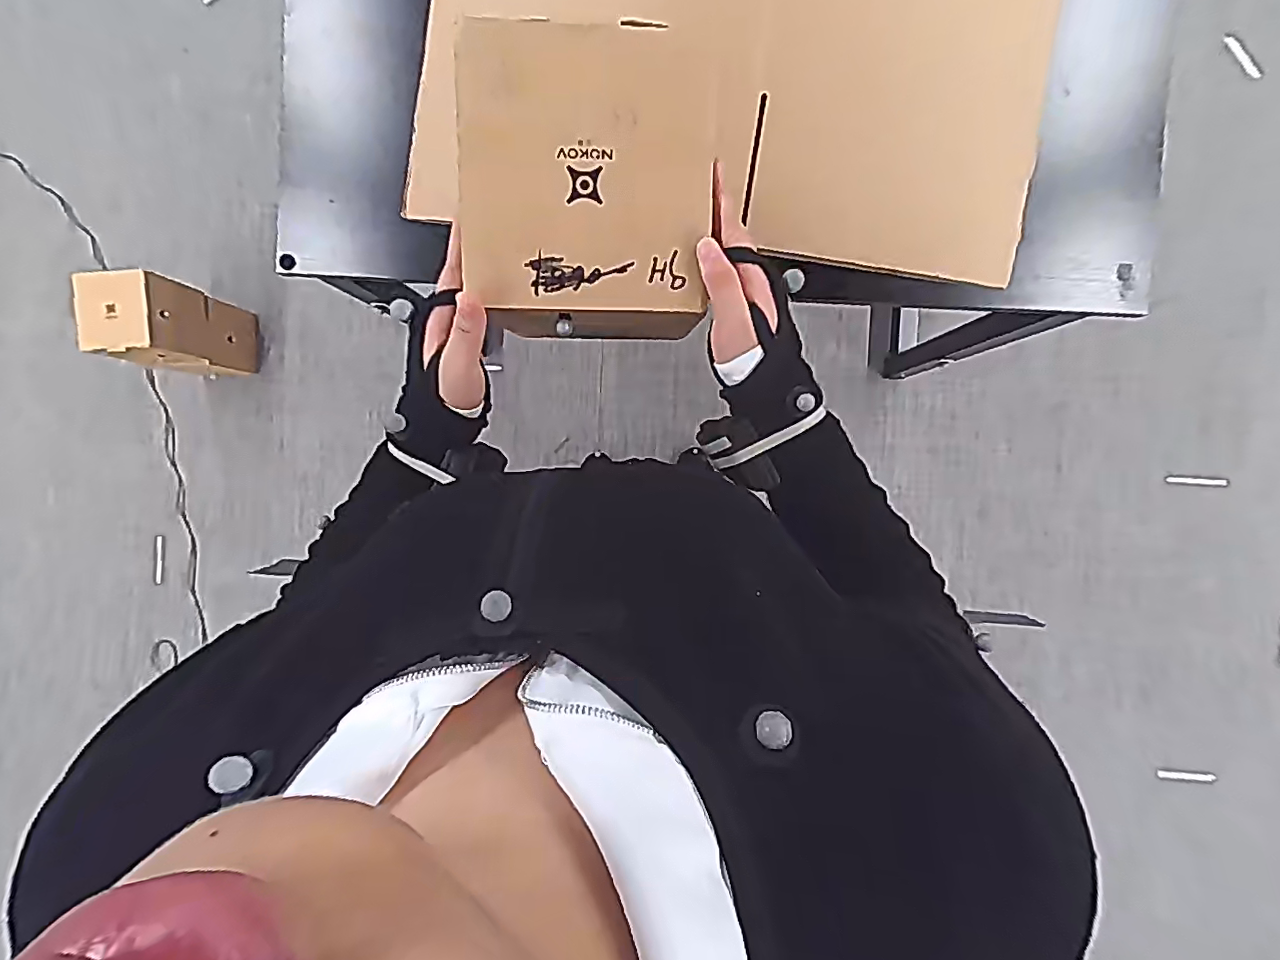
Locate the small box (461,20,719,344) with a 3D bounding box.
[{"bbox_3d":[-0.035,-0.209,0.428,0.168,0.176,0.179,1,98,-1],"label":"small box"}]

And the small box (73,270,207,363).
[{"bbox_3d":[-1.171,-0.377,1.280,0.168,0.176,0.179,-3,91,2],"label":"small box"}]

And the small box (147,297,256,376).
[{"bbox_3d":[-1.164,-0.377,1.442,0.168,0.176,0.179,0,93,2],"label":"small box"}]
